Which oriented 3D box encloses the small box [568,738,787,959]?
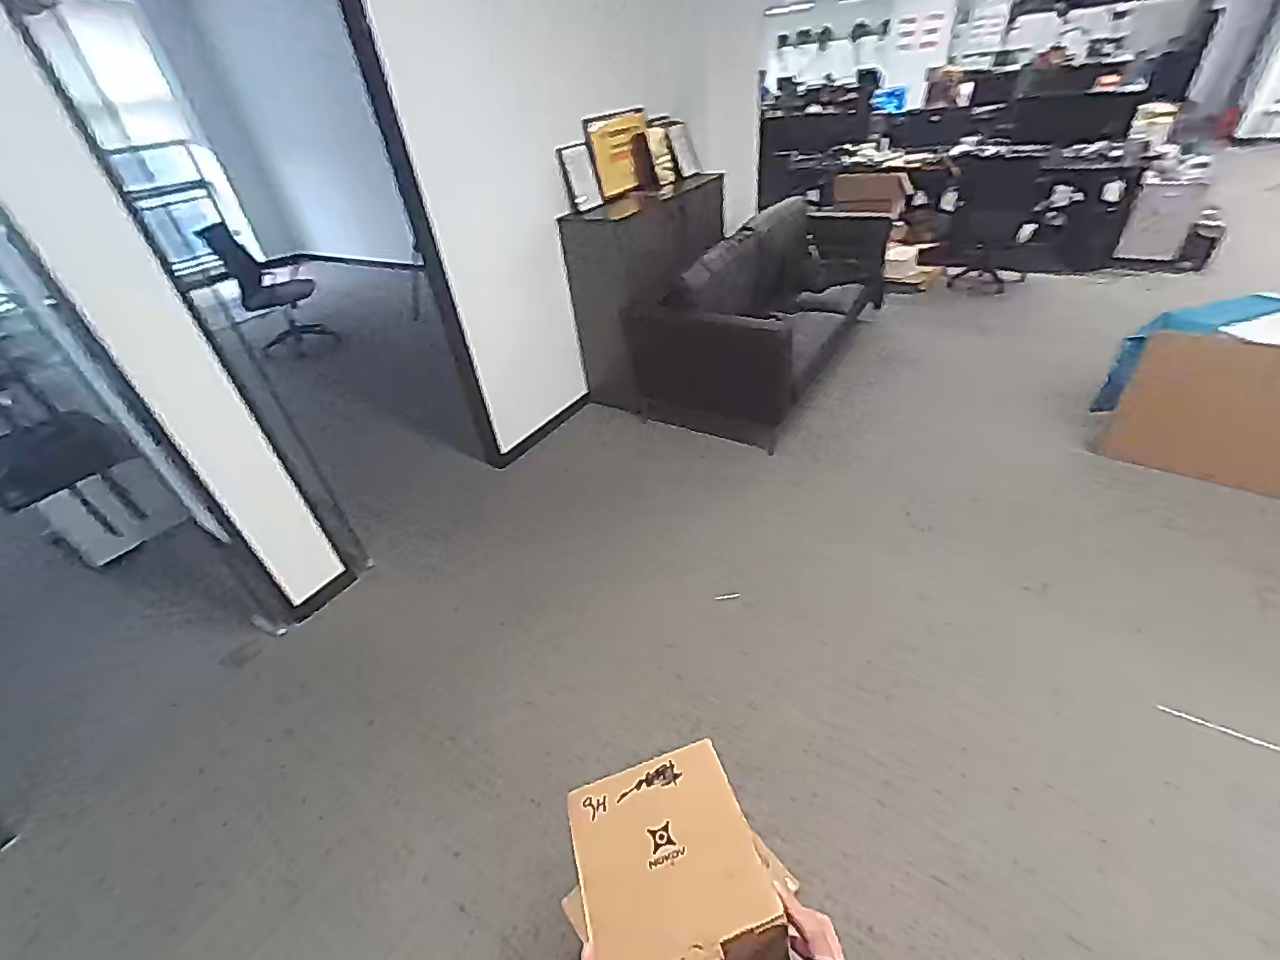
[{"bbox_3d":[0.038,0.409,0.545,0.168,0.176,0.179,-17,32,-7],"label":"small box"}]
